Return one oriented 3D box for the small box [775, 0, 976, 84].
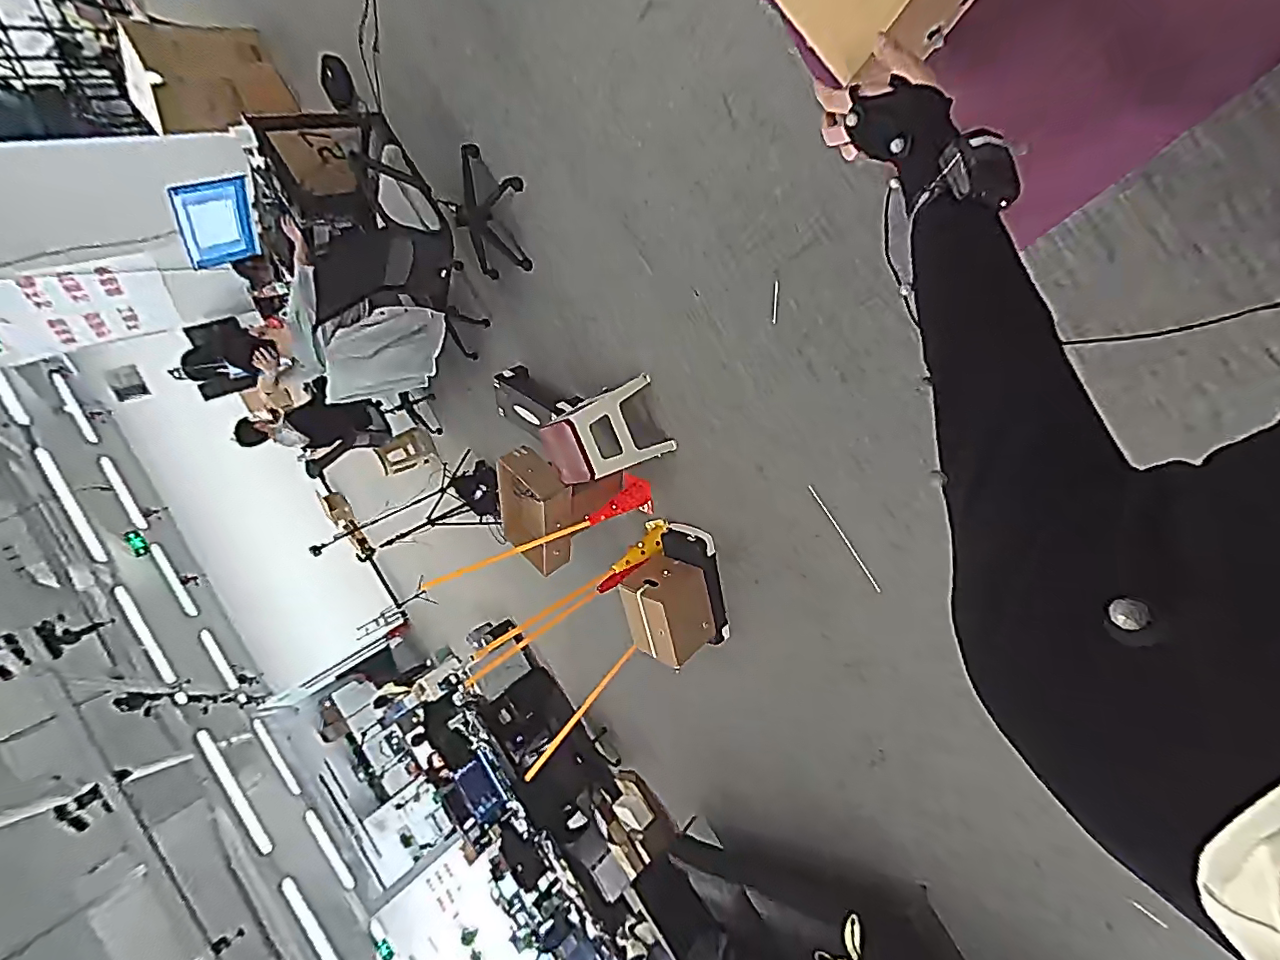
[{"bbox_3d":[0.288,-0.606,0.634,0.179,0.176,0.168,55,146,5],"label":"small box"}]
